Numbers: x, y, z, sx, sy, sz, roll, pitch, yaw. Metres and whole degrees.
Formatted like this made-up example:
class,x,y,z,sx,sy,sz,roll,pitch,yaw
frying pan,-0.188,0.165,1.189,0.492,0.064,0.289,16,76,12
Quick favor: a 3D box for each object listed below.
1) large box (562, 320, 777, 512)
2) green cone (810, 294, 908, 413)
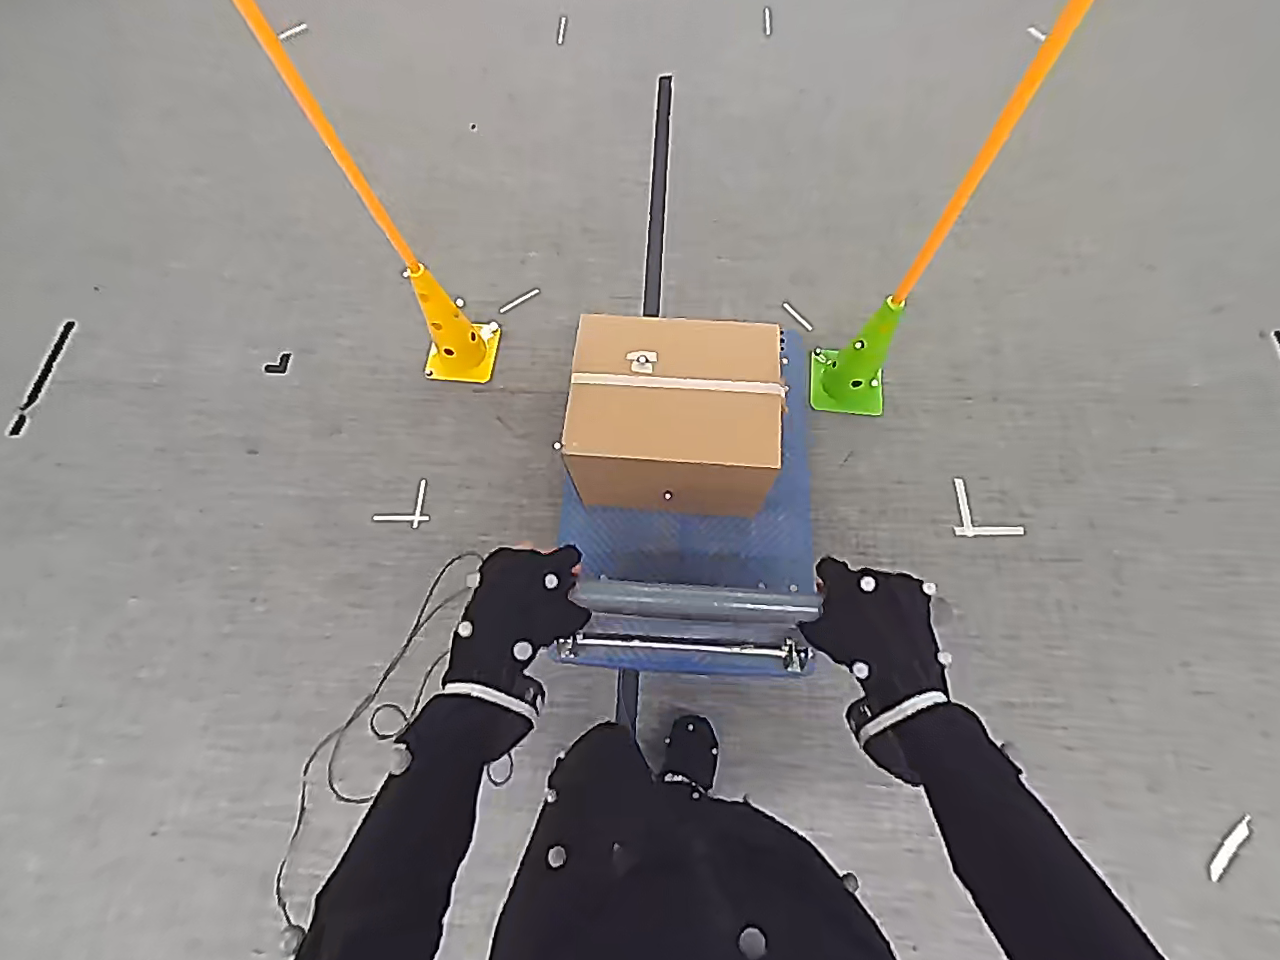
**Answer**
class,x,y,z,sx,sy,sz,roll,pitch,yaw
large box,0.071,-0.125,1.183,0.408,0.320,0.320,4,69,4
green cone,0.588,-0.345,1.397,0.202,0.368,0.200,6,71,3
